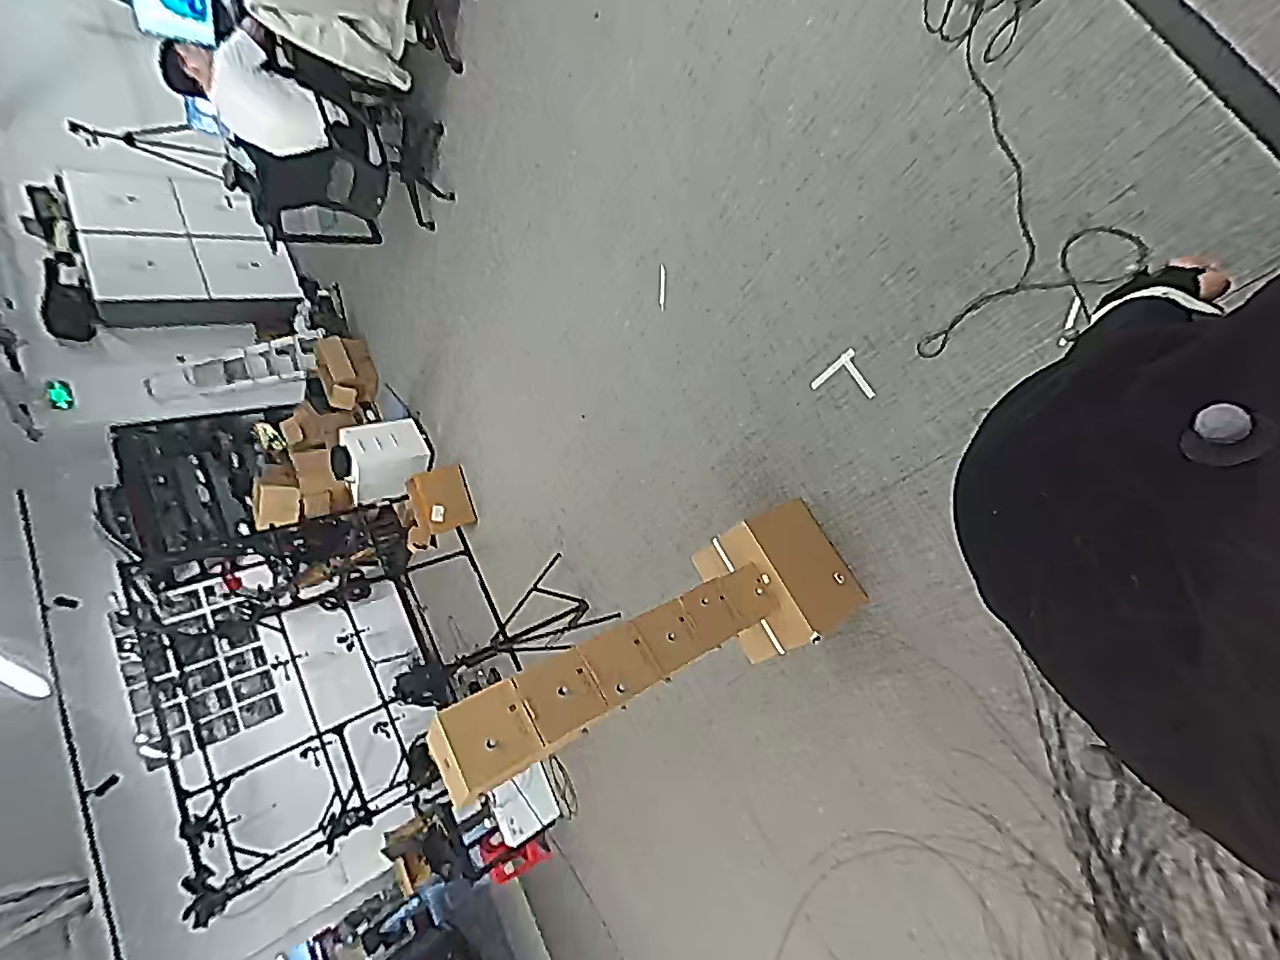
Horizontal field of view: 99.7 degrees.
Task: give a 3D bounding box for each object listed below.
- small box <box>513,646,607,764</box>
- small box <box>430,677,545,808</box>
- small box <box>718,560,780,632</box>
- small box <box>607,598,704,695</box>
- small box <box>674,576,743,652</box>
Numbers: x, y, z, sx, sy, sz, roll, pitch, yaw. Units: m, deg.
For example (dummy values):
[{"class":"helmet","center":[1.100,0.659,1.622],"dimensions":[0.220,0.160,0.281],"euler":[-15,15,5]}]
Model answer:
[{"class":"small box","center":[-0.198,0.512,1.245],"dimensions":[0.168,0.176,0.179],"euler":[55,137,23]},{"class":"small box","center":[-0.322,0.550,1.146],"dimensions":[0.168,0.176,0.179],"euler":[54,138,23]},{"class":"small box","center":[0.290,0.369,1.656],"dimensions":[0.168,0.176,0.179],"euler":[60,139,16]},{"class":"small box","center":[0.047,0.442,1.452],"dimensions":[0.168,0.176,0.179],"euler":[57,138,21]},{"class":"small box","center":[0.170,0.399,1.552],"dimensions":[0.168,0.176,0.179],"euler":[60,141,18]}]
